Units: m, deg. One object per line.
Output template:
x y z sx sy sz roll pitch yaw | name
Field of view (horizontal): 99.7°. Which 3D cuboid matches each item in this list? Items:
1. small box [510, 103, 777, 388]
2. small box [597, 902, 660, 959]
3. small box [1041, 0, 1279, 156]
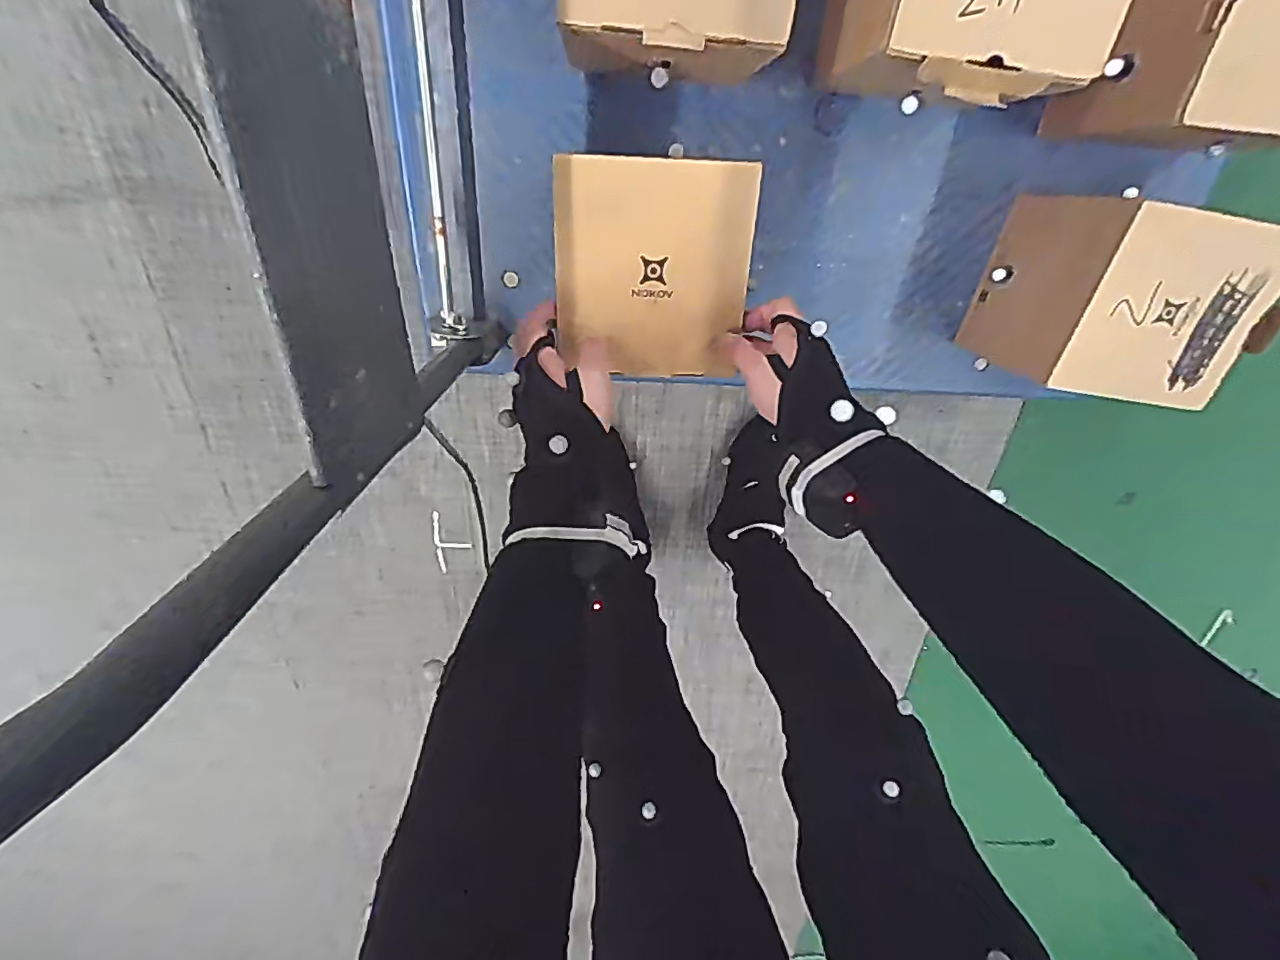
0.000 -0.224 0.534 0.179 0.176 0.168 30 115 -17 | small box
-0.039 1.383 1.596 0.168 0.176 0.179 6 119 -6 | small box
0.504 -0.384 0.464 0.179 0.176 0.168 4 119 -4 | small box
